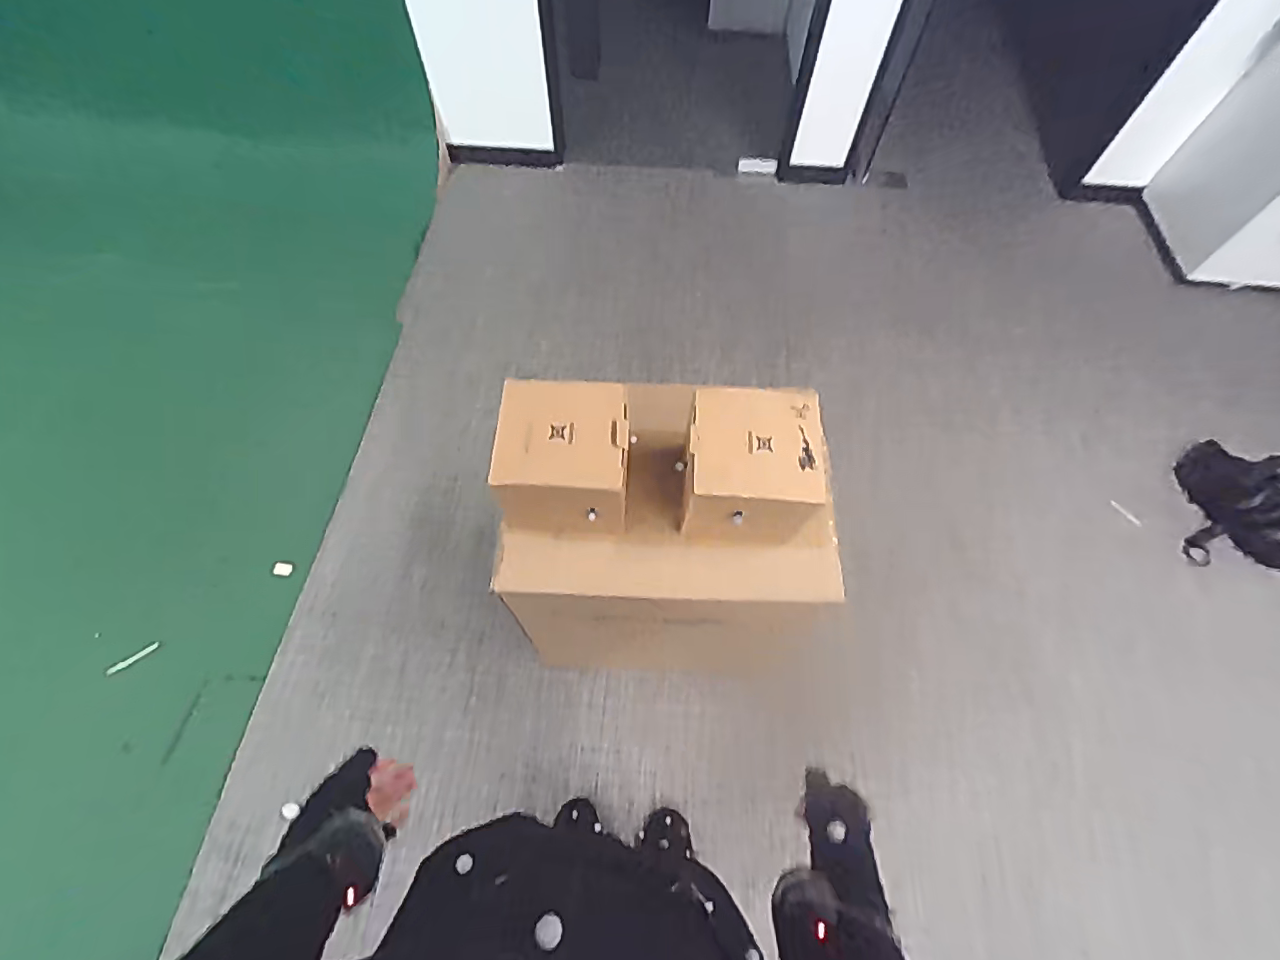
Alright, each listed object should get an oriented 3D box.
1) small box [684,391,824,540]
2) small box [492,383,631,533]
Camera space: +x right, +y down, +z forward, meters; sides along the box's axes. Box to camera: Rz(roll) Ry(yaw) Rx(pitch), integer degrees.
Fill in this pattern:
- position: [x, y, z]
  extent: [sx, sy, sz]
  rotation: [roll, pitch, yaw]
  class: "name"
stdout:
- position: [0.158, -0.015, 0.806]
  extent: [0.179, 0.176, 0.168]
  rotation: [4, 65, 1]
  class: "small box"
- position: [-0.104, -0.027, 0.807]
  extent: [0.179, 0.176, 0.168]
  rotation: [1, 64, 1]
  class: "small box"
